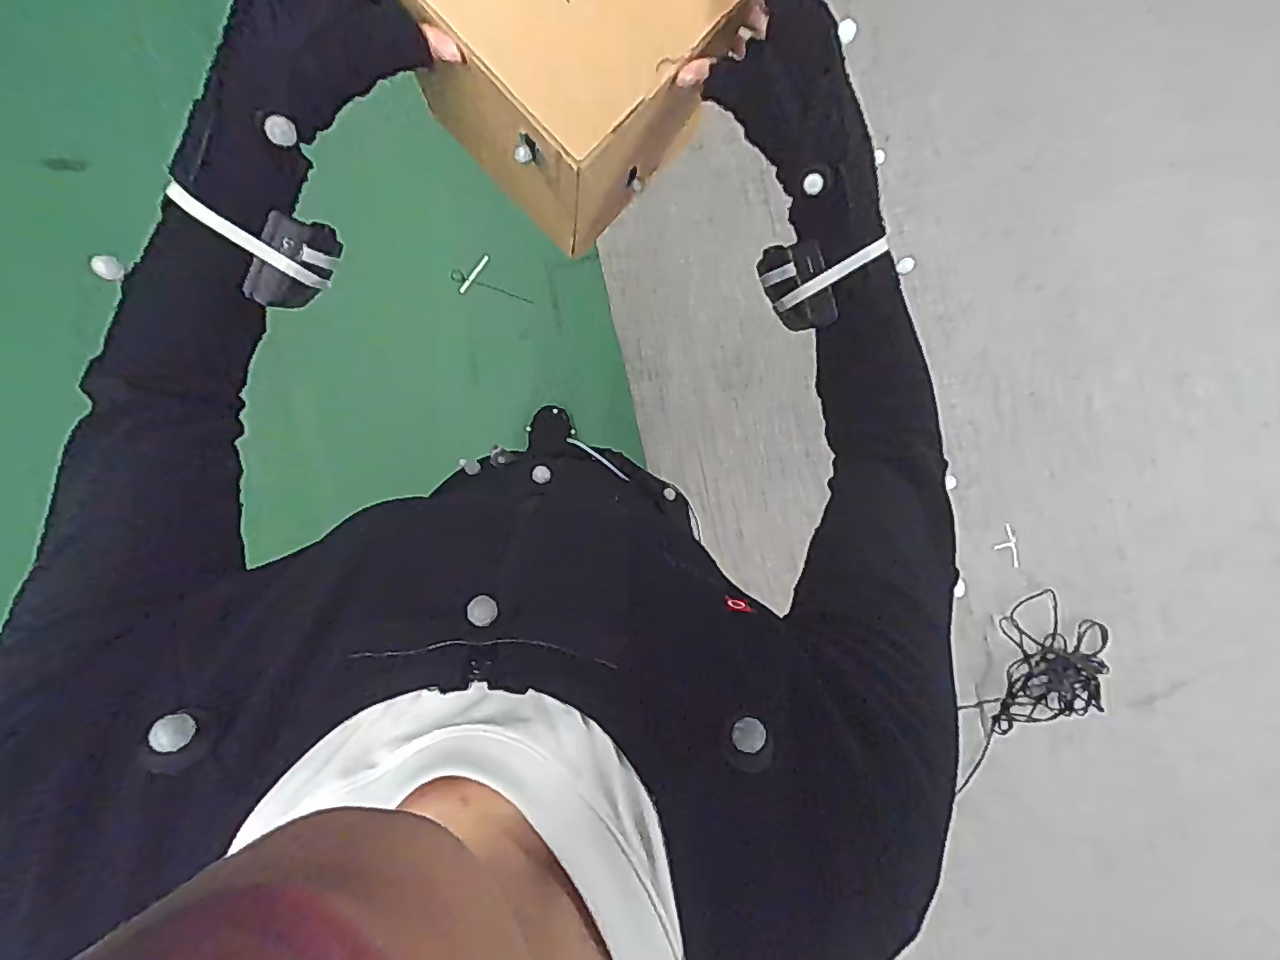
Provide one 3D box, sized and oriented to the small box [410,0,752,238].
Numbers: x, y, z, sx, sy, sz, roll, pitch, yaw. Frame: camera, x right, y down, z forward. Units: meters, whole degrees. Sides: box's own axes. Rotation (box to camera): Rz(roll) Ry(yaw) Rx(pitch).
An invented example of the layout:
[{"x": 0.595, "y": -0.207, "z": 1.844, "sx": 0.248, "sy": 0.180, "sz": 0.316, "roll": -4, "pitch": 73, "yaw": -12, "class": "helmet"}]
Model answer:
[{"x": -0.051, "y": -0.324, "z": 0.411, "sx": 0.179, "sy": 0.176, "sz": 0.168, "roll": 44, "pitch": 87, "yaw": -9, "class": "small box"}]
